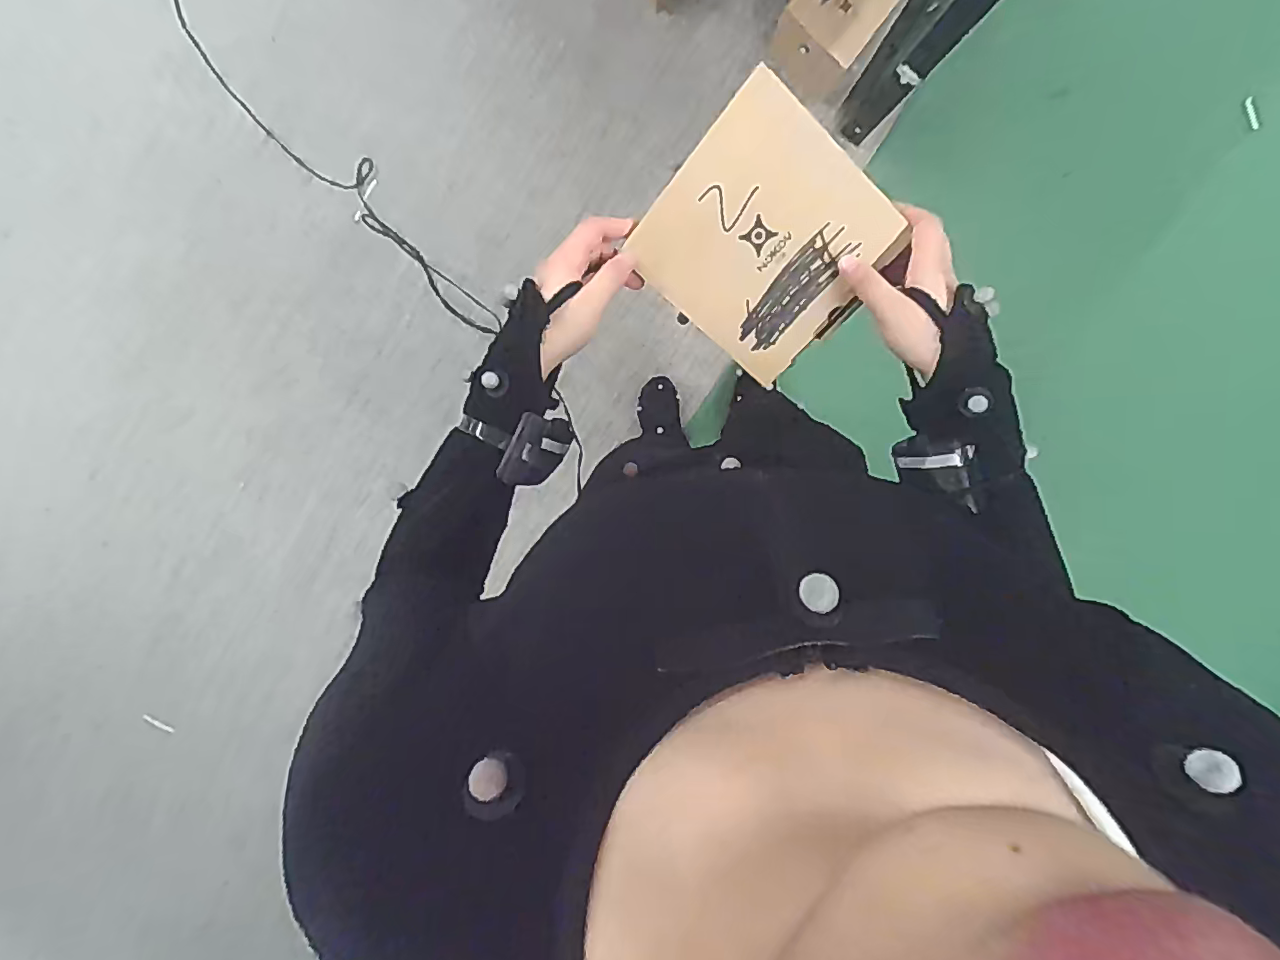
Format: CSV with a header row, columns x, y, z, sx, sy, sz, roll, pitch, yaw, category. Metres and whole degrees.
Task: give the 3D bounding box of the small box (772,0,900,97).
x,y,z,sx,sy,sz,roll,pitch,yaw,category
0.411,-0.979,1.164,0.179,0.176,0.168,38,102,-8,small box
